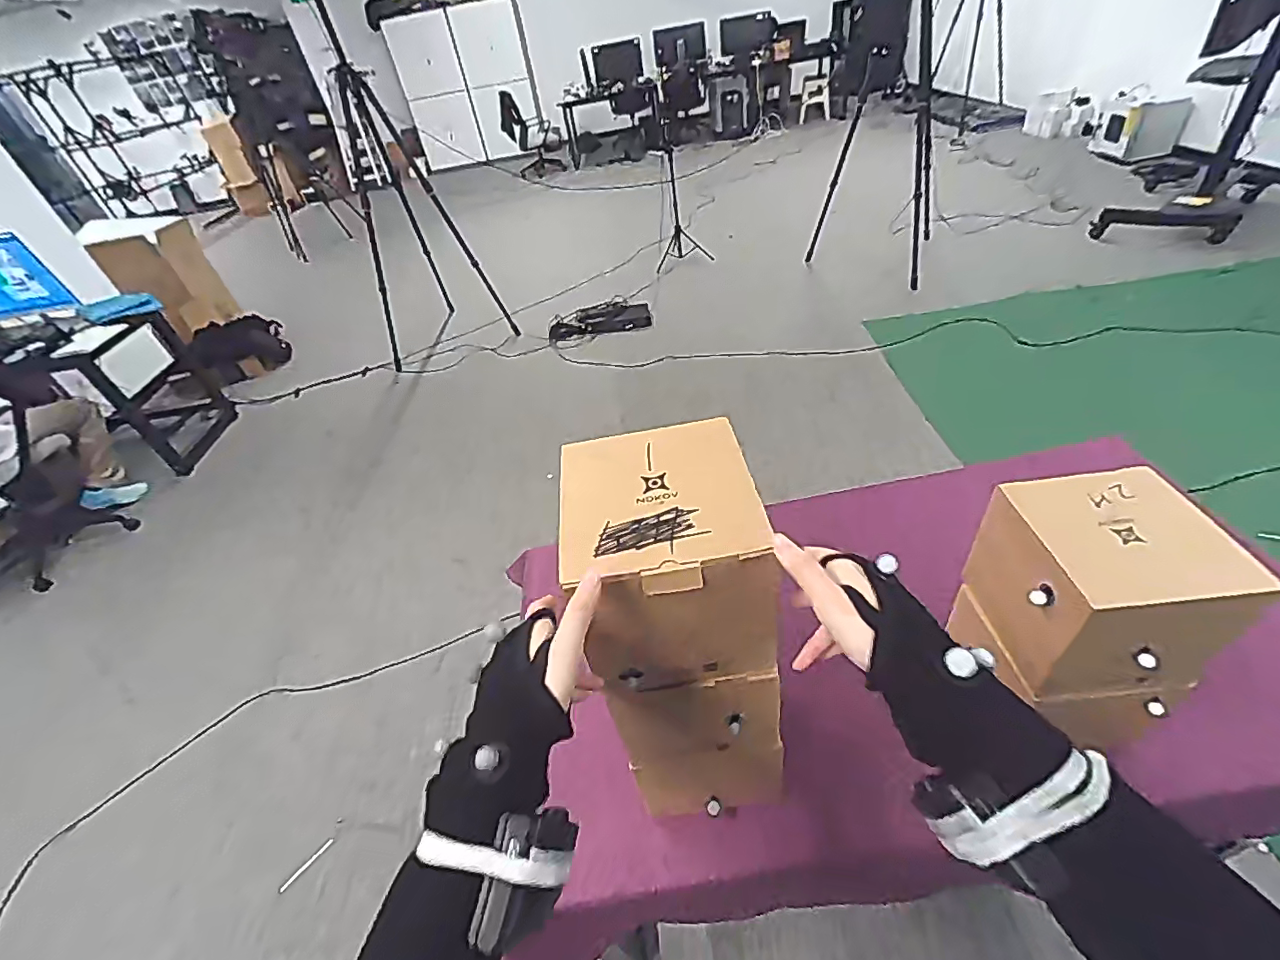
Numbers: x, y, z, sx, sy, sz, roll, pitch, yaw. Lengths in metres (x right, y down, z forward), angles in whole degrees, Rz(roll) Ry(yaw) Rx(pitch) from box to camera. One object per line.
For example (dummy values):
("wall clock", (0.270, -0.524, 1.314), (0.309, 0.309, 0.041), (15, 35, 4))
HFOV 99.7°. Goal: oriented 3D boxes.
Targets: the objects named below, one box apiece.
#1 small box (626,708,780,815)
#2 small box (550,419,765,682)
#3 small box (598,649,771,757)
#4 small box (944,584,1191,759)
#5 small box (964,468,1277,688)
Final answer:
("small box", (0.076, 0.319, 0.715), (0.179, 0.176, 0.168), (-9, 40, 3))
("small box", (0.019, 0.070, 0.509), (0.168, 0.176, 0.179), (-10, 40, 1))
("small box", (0.051, 0.194, 0.613), (0.168, 0.176, 0.179), (-8, 40, 4))
("small box", (0.521, 0.239, 0.699), (0.179, 0.176, 0.168), (-8, 41, 4))
("small box", (0.494, 0.113, 0.597), (0.168, 0.176, 0.179), (-7, 40, 5))
